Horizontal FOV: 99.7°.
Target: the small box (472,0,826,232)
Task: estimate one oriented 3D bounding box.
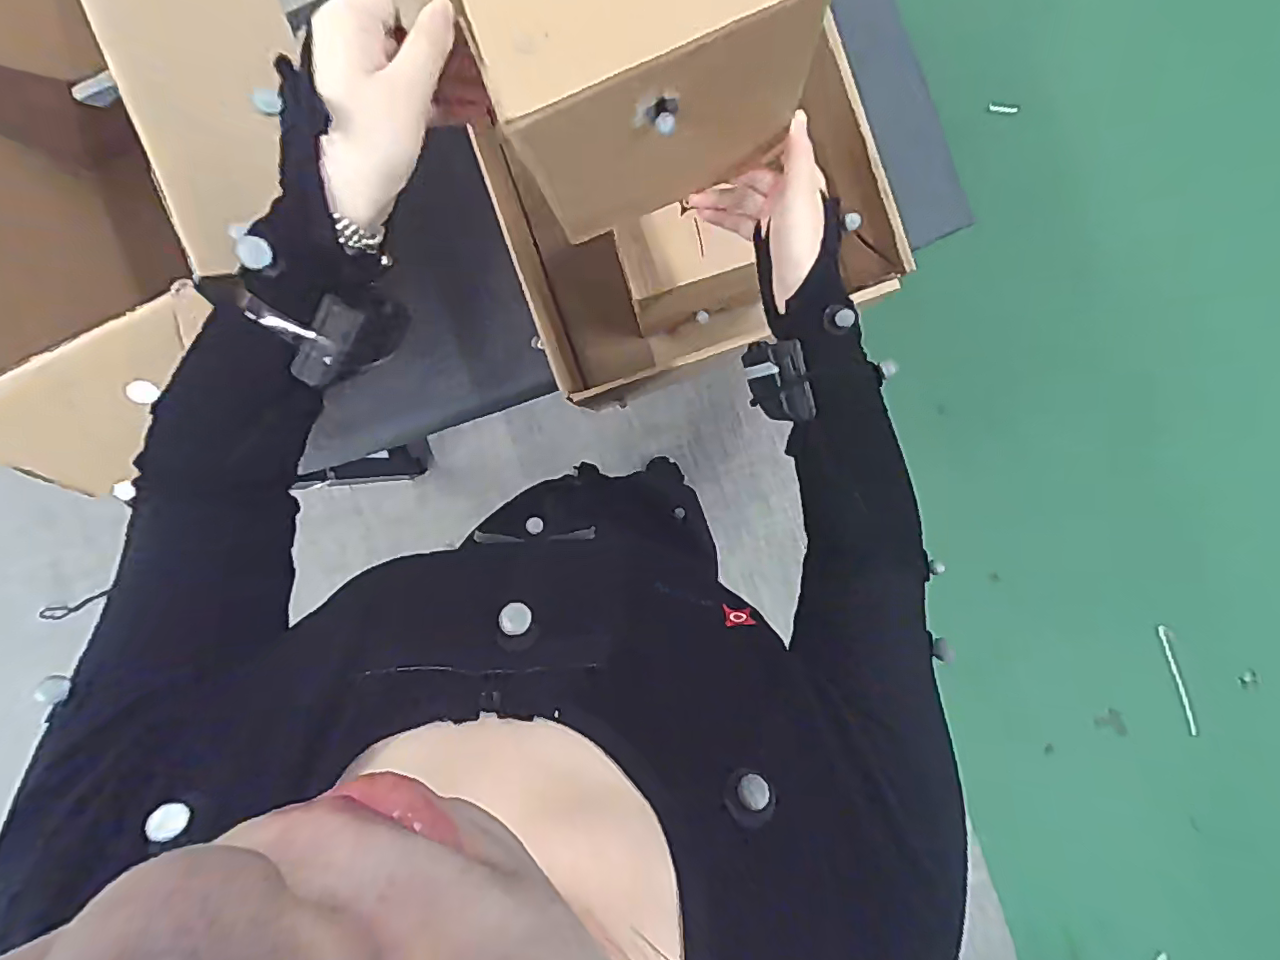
[{"bbox_3d":[-0.002,-0.292,0.348,0.179,0.176,0.168,-20,93,6],"label":"small box"}]
